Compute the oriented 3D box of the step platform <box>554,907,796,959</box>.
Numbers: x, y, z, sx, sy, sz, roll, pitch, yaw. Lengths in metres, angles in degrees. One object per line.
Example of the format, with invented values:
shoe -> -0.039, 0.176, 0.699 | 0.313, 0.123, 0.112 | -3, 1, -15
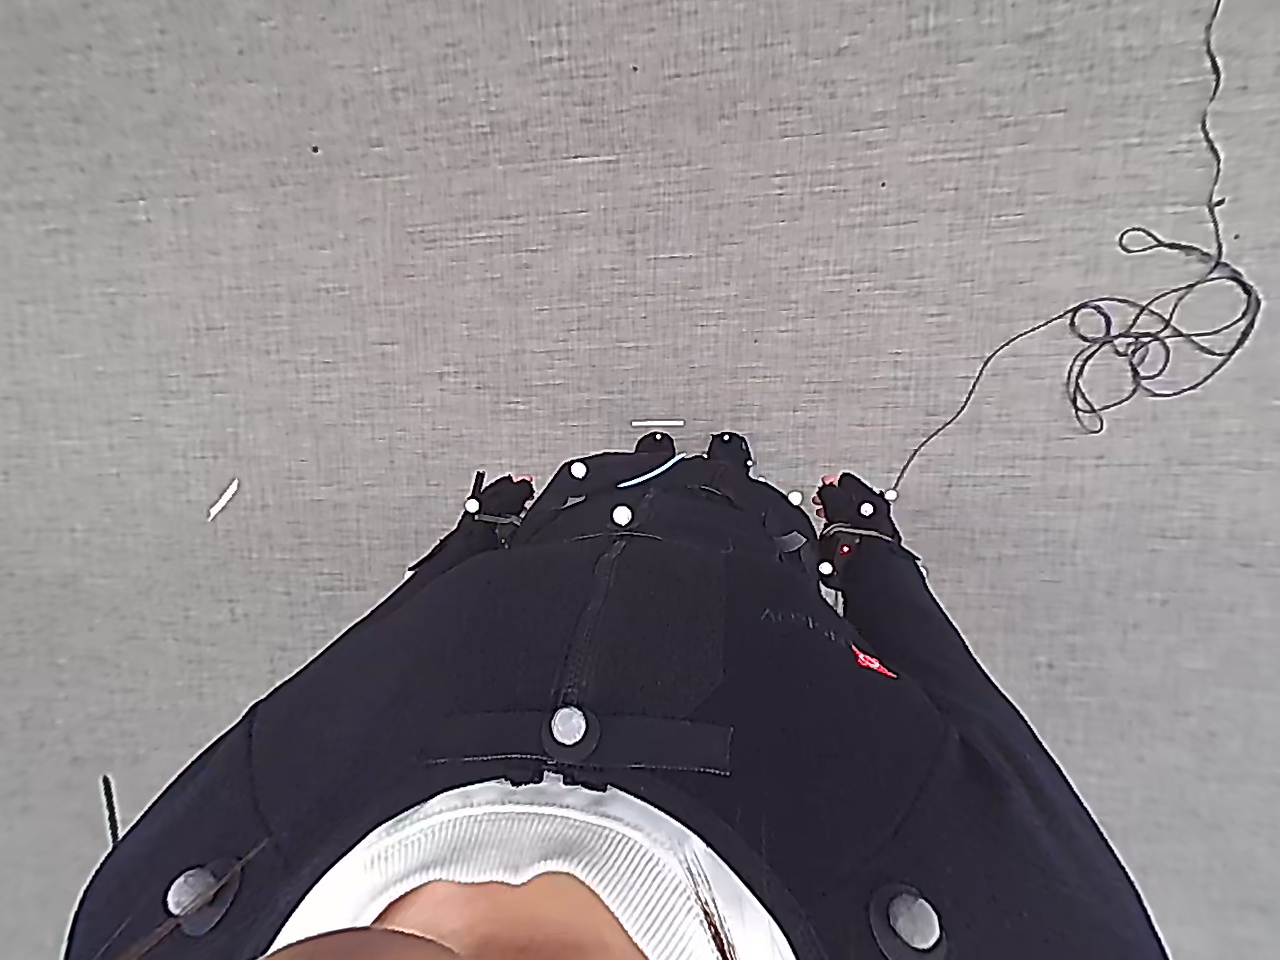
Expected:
step platform -> 0.095, 1.420, 1.501 | 0.684, 0.204, 0.286 | -2, 96, 9
